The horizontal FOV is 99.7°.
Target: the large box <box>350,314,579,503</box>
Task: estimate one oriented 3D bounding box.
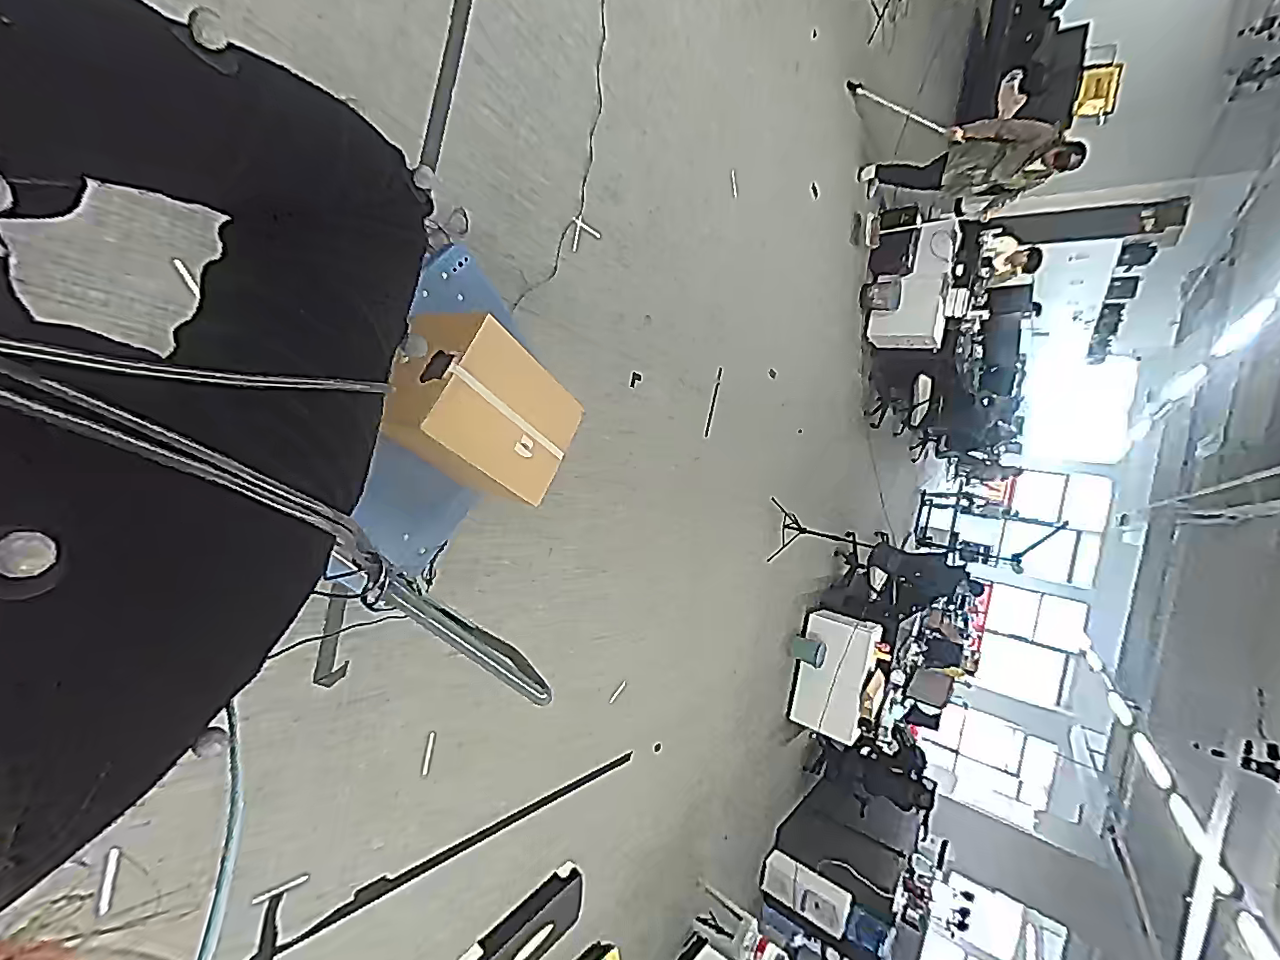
[{"bbox_3d":[-0.438,-0.181,1.403,0.408,0.320,0.320,45,64,-50],"label":"large box"}]
